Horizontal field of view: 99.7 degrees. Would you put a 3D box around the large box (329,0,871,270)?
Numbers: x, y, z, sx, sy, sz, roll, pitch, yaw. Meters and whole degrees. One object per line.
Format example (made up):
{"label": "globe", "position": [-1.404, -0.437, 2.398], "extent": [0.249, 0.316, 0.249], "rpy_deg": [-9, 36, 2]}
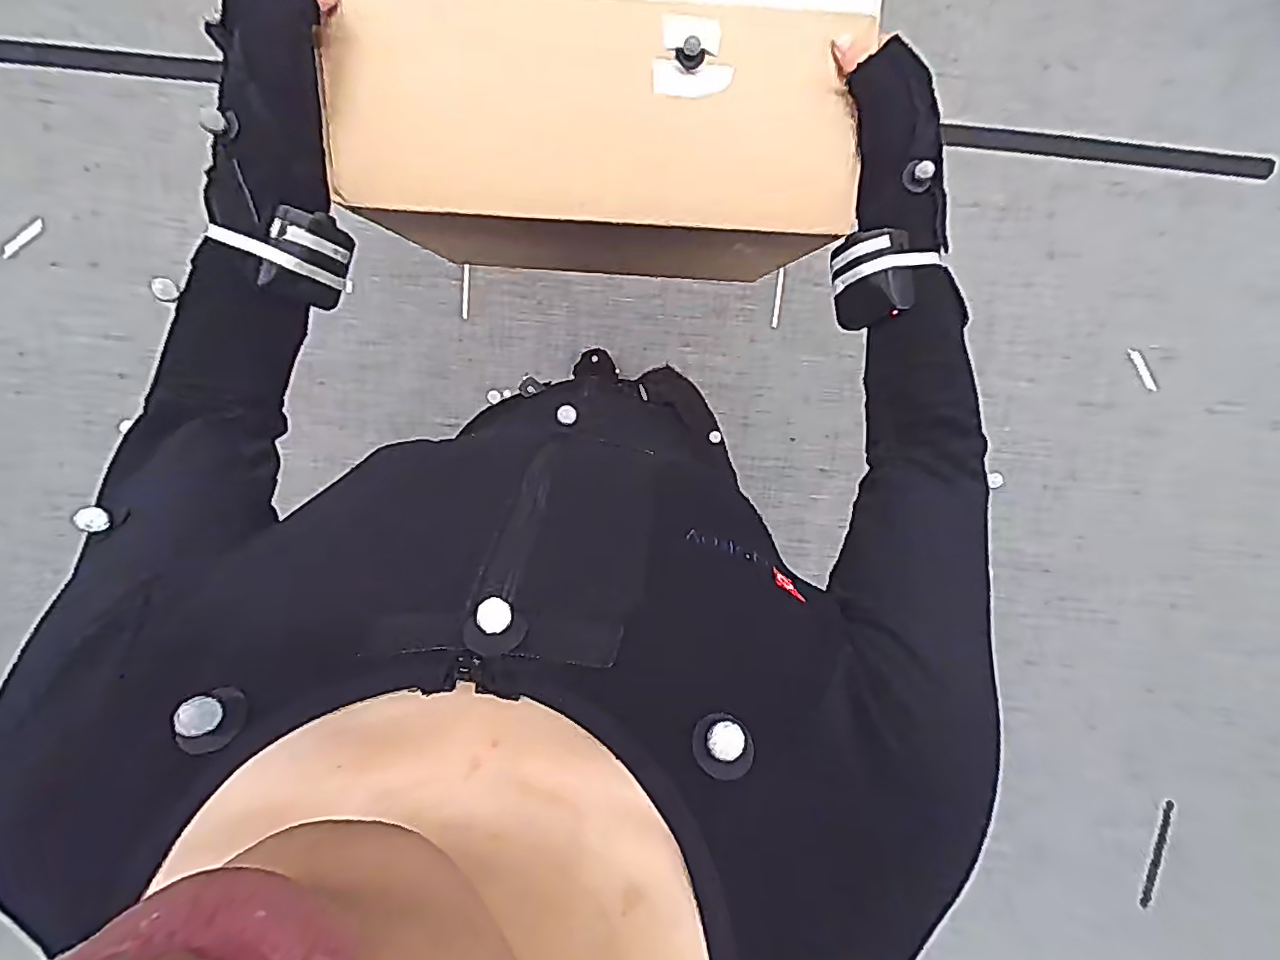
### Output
{"label": "large box", "position": [-0.033, -0.400, 0.537], "extent": [0.408, 0.320, 0.320], "rpy_deg": [2, 104, -3]}
